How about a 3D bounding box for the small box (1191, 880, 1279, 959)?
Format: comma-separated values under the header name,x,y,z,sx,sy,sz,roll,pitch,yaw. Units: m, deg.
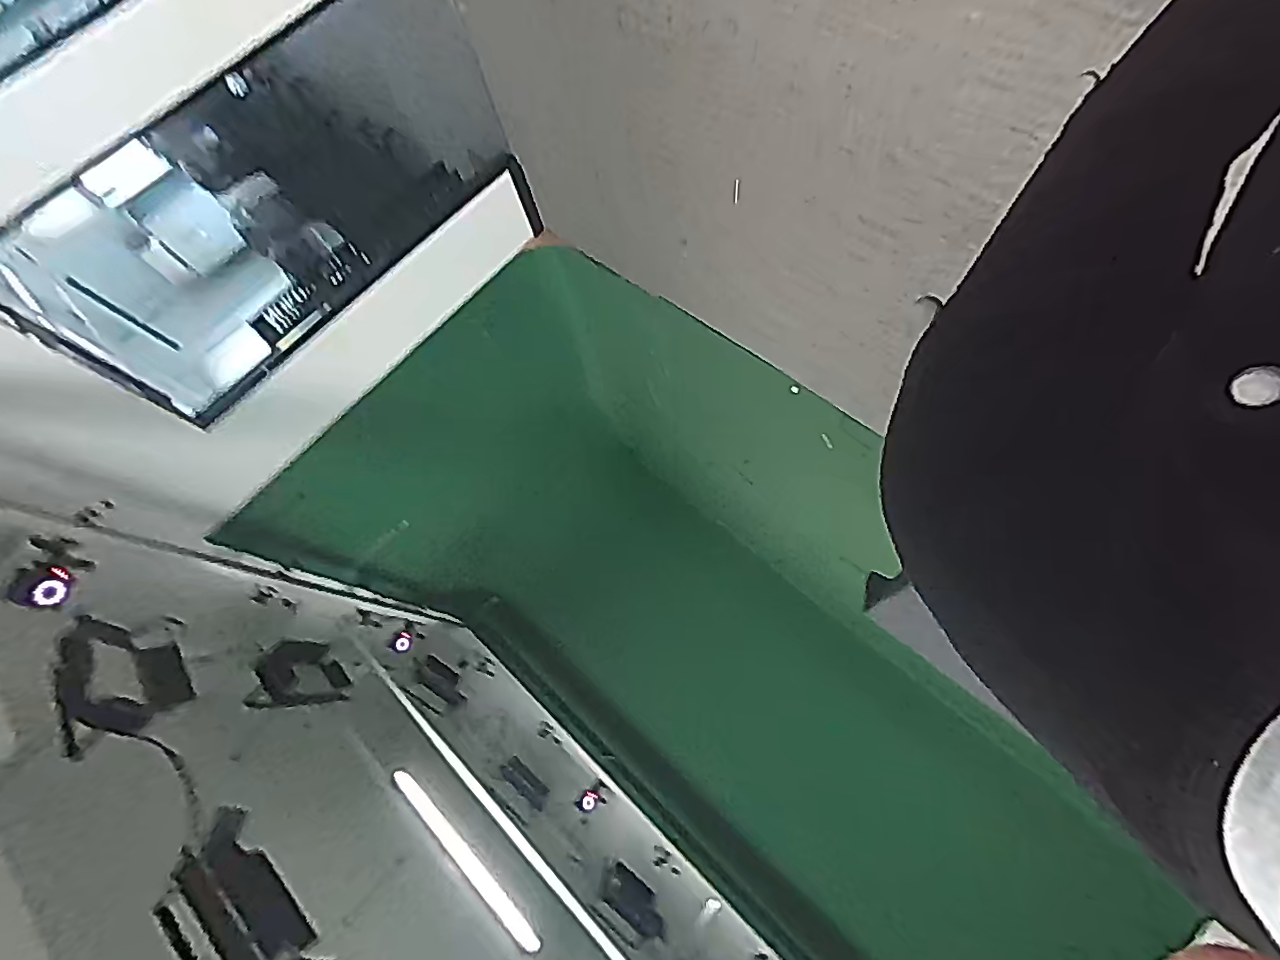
name,x,y,z,sx,sy,sz,roll,pitch,yaw
small box,1.555,1.140,1.336,0.168,0.176,0.179,40,166,21
